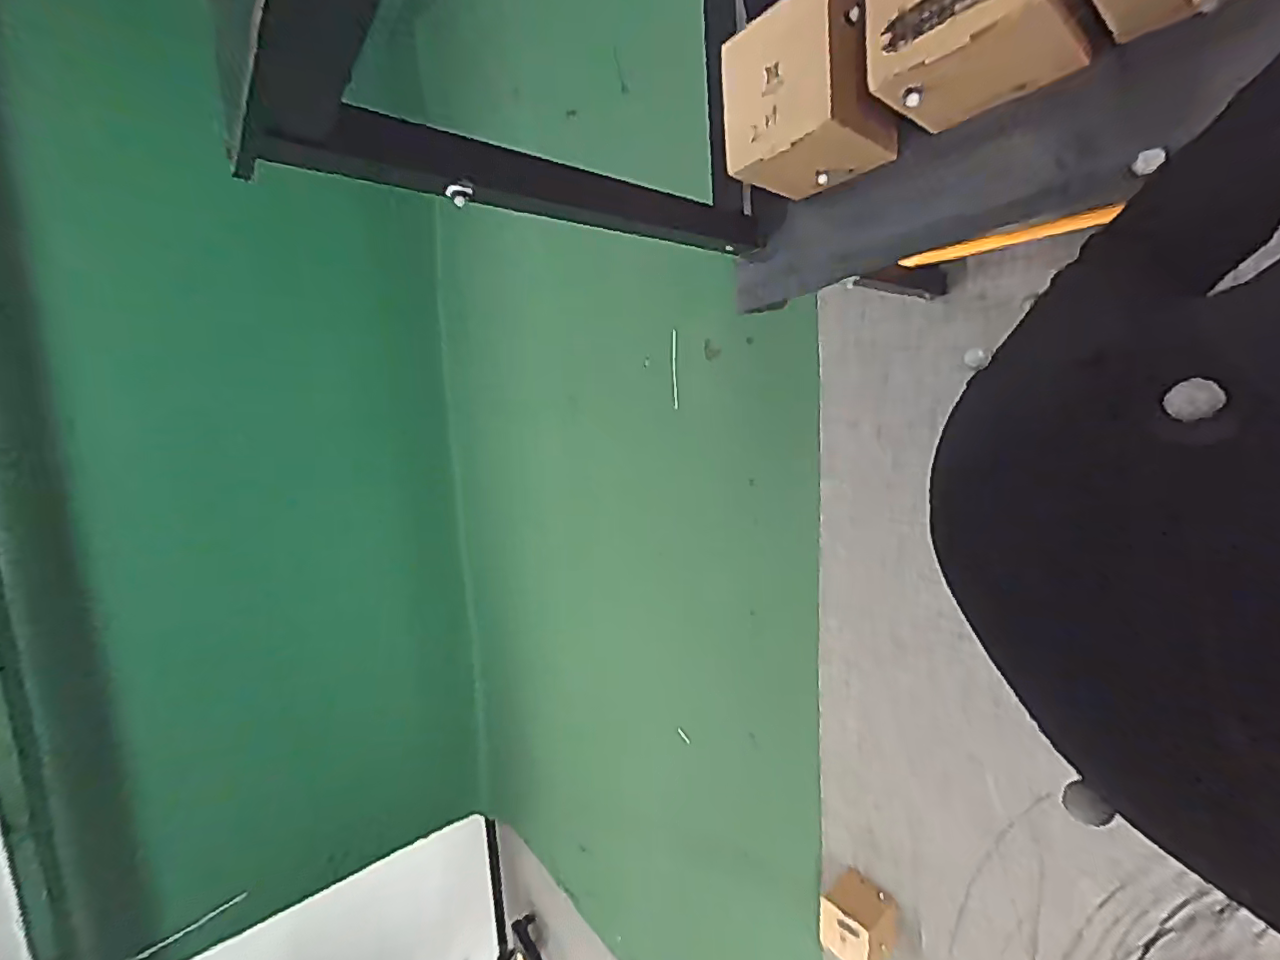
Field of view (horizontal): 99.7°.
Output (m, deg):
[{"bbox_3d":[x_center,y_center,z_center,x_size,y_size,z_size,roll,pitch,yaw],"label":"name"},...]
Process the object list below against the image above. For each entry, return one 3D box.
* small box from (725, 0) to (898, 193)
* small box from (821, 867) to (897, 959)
[{"bbox_3d":[0.237,-0.528,0.743,0.168,0.176,0.179,3,99,51],"label":"small box"},{"bbox_3d":[0.700,1.398,1.725,0.168,0.176,0.179,9,105,50],"label":"small box"}]
